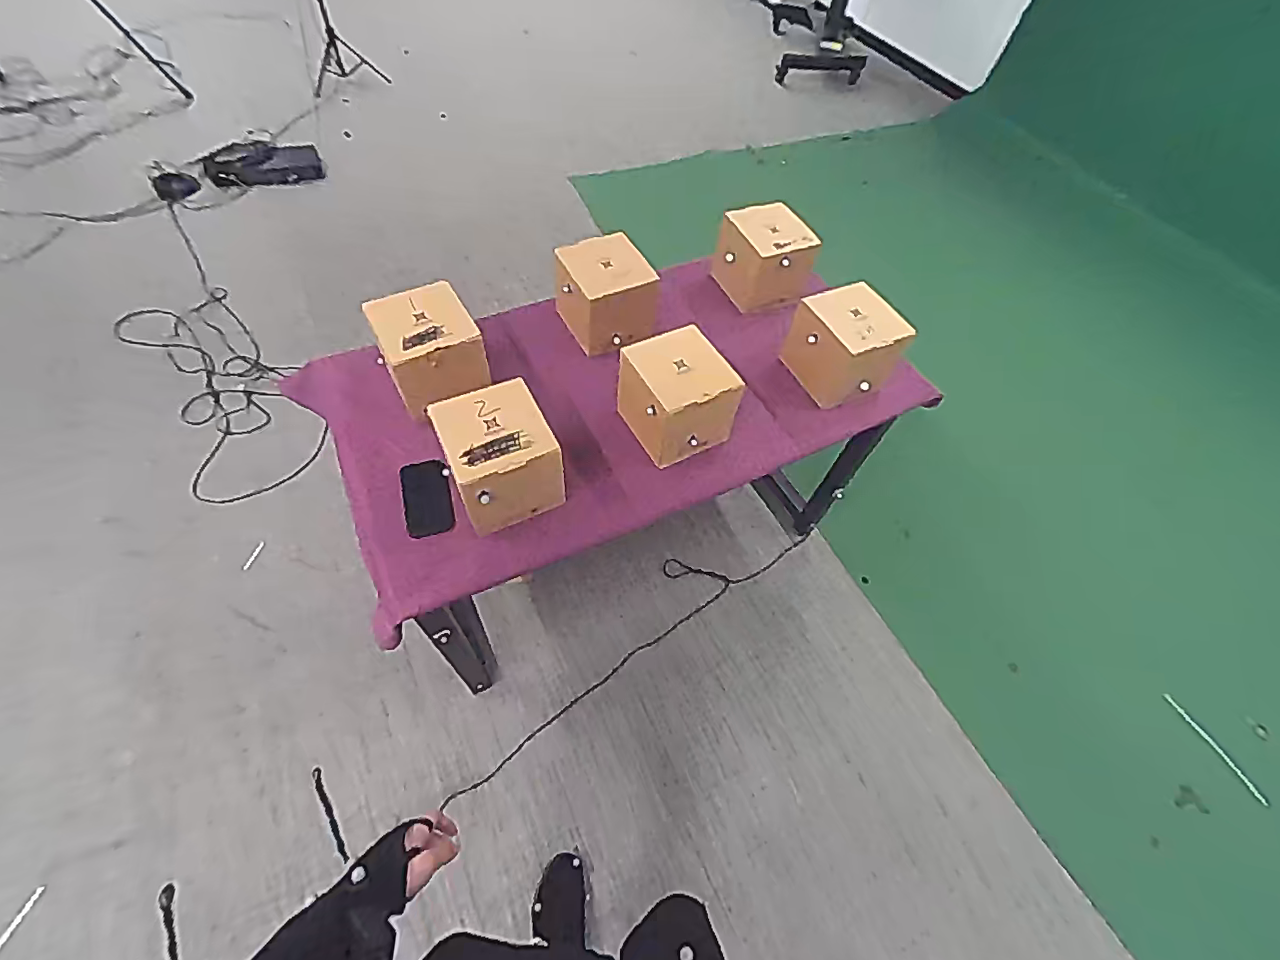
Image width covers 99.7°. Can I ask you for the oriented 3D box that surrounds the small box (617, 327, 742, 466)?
[{"bbox_3d":[0.065,-0.158,1.040,0.168,0.176,0.179,-23,61,-20],"label":"small box"}]

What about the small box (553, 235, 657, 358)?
[{"bbox_3d":[-0.081,-0.400,1.186,0.168,0.176,0.179,-23,62,-18],"label":"small box"}]

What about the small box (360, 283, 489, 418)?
[{"bbox_3d":[-0.409,-0.242,1.049,0.168,0.176,0.179,-25,62,-21],"label":"small box"}]

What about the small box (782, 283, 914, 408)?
[{"bbox_3d":[0.429,-0.284,1.153,0.168,0.176,0.179,-20,61,-16],"label":"small box"}]

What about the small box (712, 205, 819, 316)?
[{"bbox_3d":[0.291,-0.527,1.304,0.168,0.176,0.179,-19,60,-16],"label":"small box"}]
